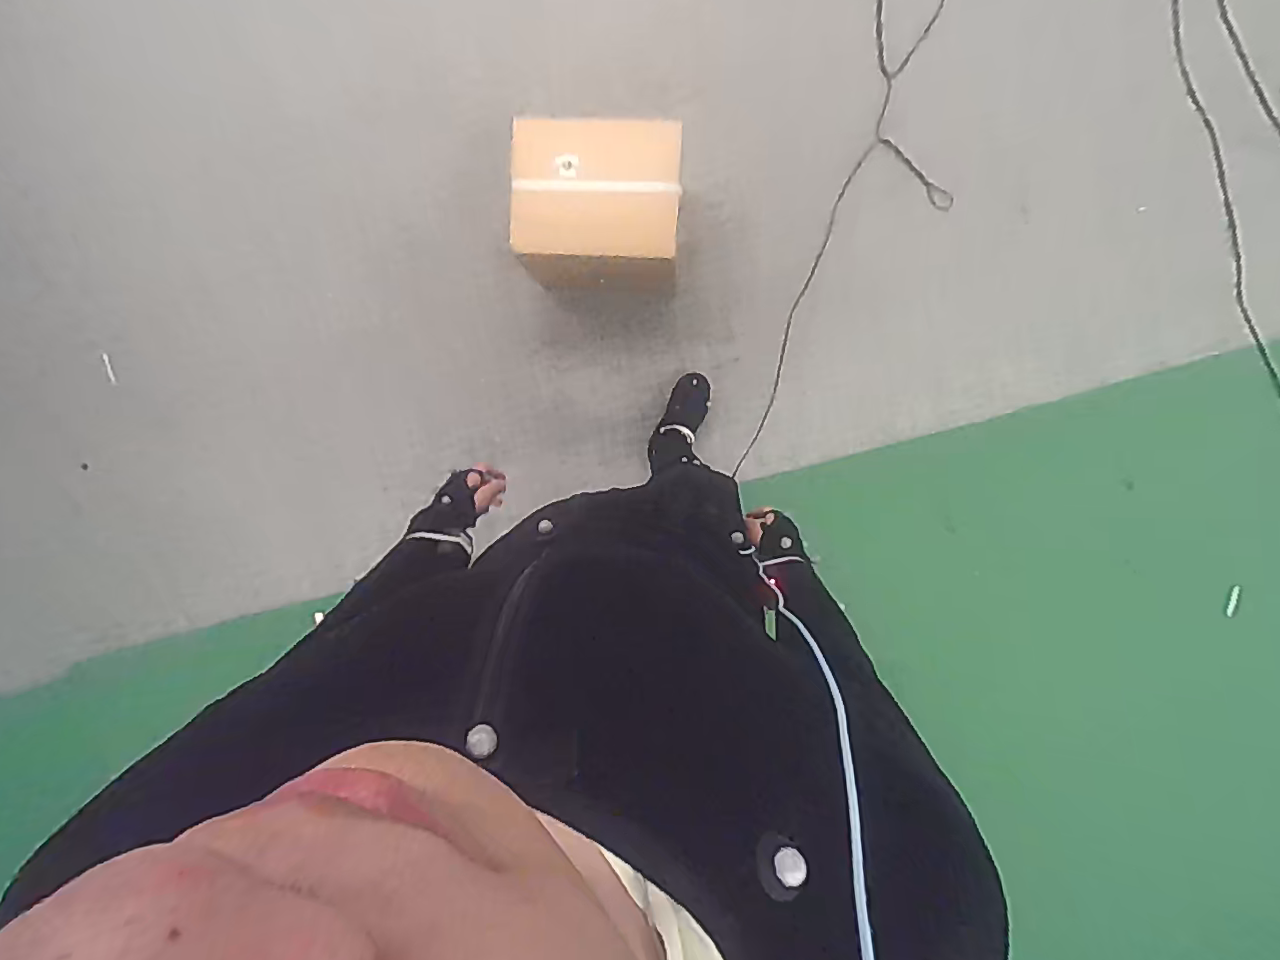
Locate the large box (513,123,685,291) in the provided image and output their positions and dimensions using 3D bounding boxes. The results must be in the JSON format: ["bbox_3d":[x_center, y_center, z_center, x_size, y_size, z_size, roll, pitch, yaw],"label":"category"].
[{"bbox_3d":[-0.088,-0.696,1.428,0.408,0.320,0.320,4,94,5],"label":"large box"}]
